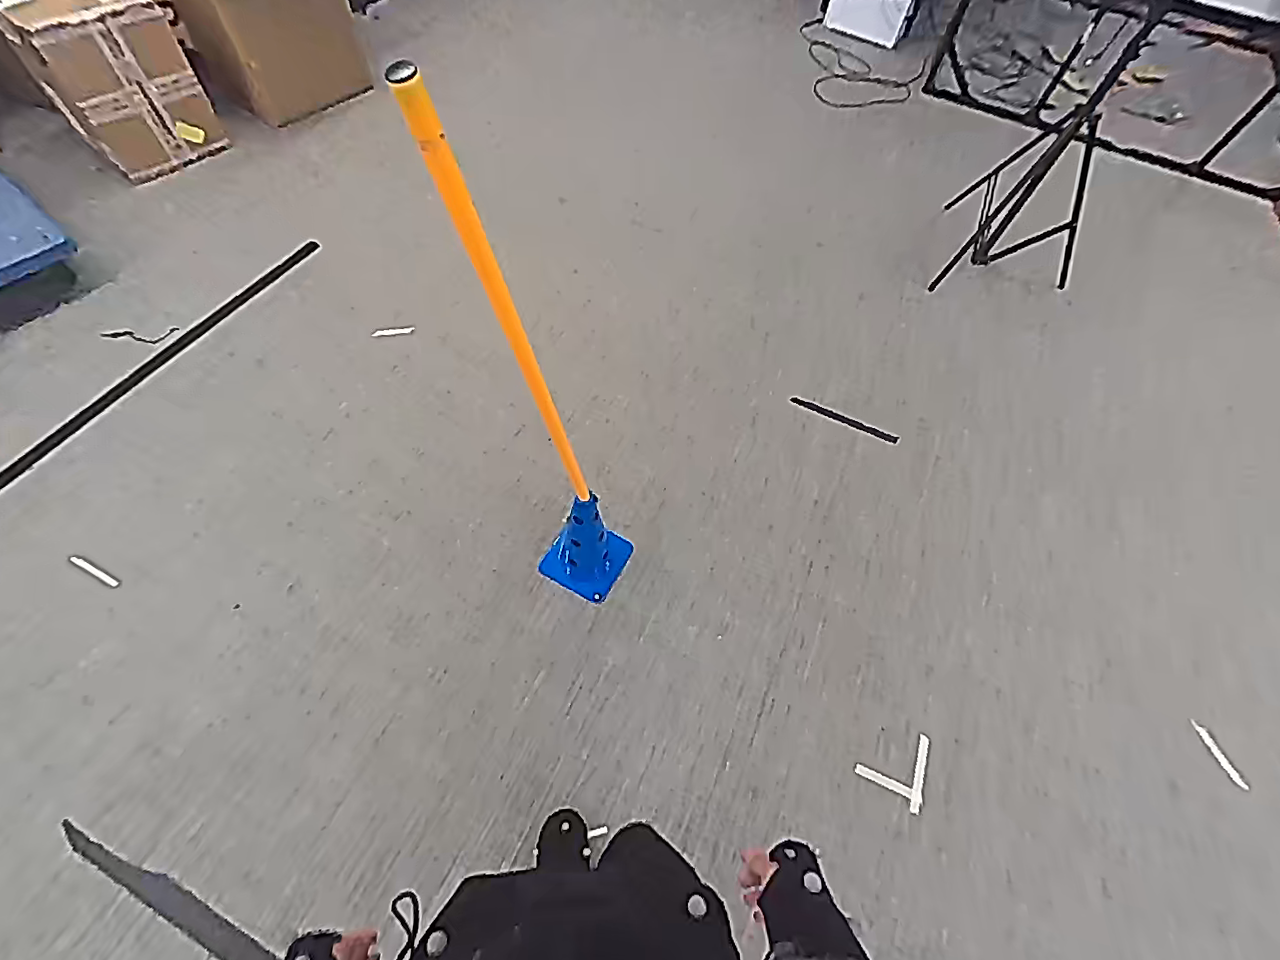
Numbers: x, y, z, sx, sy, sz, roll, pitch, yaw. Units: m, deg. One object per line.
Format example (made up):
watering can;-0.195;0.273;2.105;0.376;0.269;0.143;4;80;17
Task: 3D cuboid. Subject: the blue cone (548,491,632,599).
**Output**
blue cone;-0.123;0.126;1.322;0.192;0.380;0.193;29;62;10
